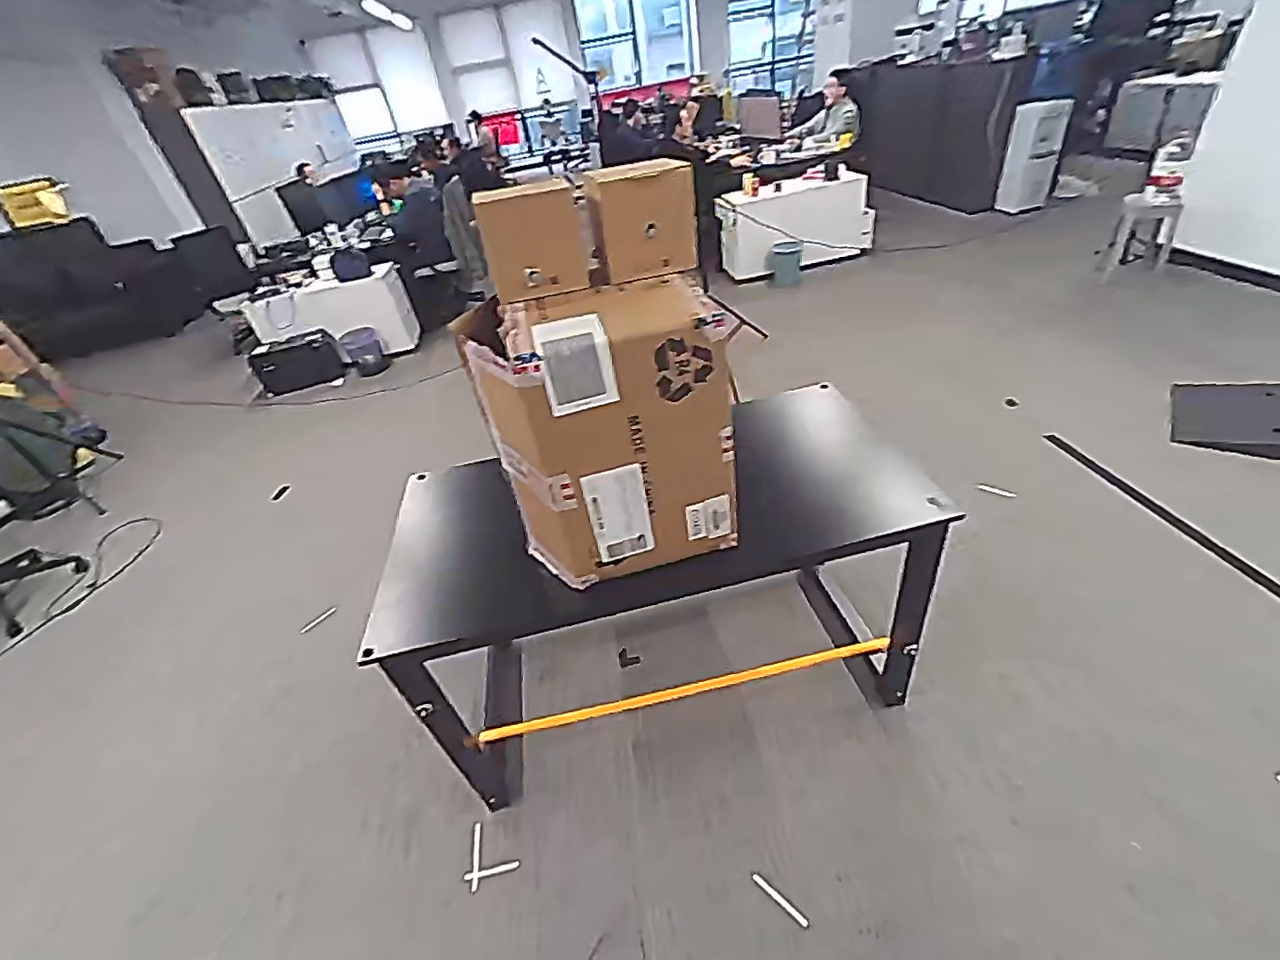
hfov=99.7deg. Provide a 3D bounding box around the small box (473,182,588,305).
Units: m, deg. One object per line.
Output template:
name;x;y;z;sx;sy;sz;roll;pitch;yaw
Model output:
small box;-0.201;-0.434;0.992;0.168;0.176;0.179;-16;35;-8

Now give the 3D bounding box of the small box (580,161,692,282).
small box;-0.007;-0.480;1.008;0.168;0.176;0.179;-13;37;-8
